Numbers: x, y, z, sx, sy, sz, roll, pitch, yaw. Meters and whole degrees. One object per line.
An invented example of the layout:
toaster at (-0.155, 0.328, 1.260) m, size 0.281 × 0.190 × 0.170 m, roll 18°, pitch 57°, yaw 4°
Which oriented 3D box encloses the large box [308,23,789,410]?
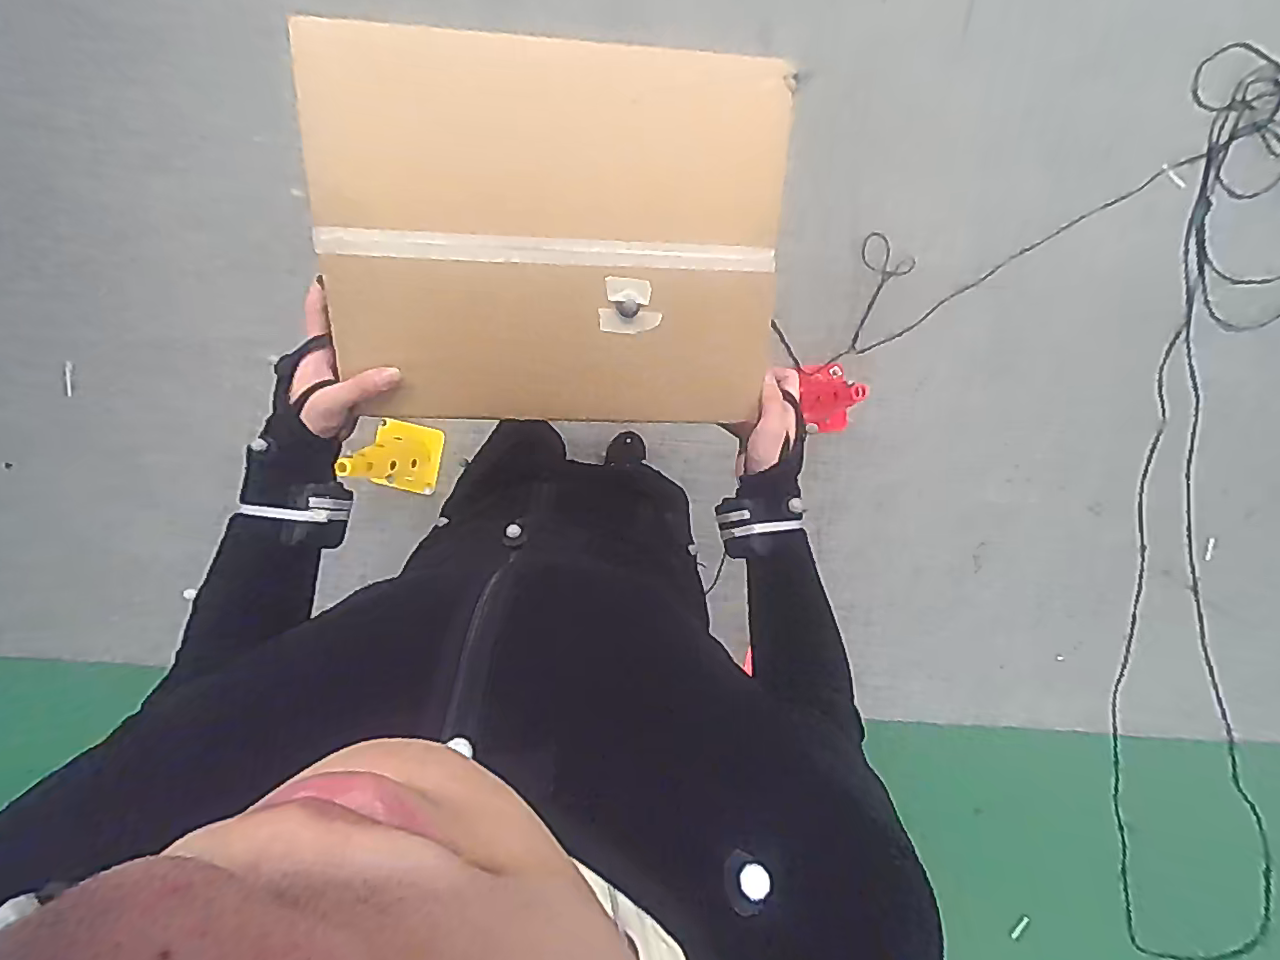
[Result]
large box at (-0.088, -0.265, 0.634) m, size 0.408 × 0.320 × 0.320 m, roll 0°, pitch 110°, yaw -7°

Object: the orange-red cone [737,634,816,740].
orange-red cone at (0.418, 0.602, 1.506) m, size 0.199 × 0.360 × 0.198 m, roll 12°, pitch 97°, yaw -3°
